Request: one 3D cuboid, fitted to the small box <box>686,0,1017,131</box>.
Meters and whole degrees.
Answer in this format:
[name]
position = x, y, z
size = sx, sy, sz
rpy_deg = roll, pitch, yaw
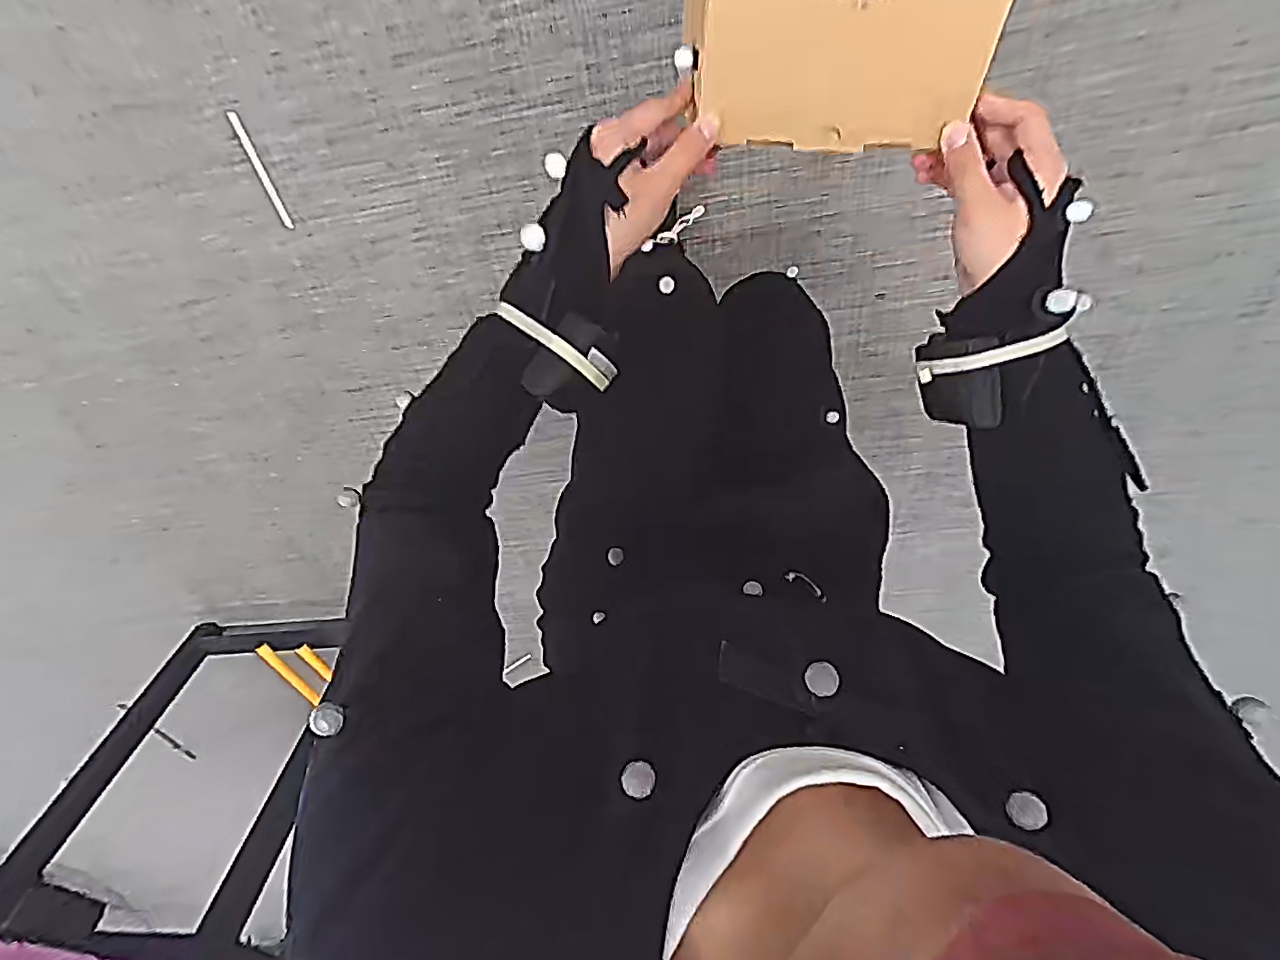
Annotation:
[small box]
position = 0.119, -0.331, 0.329
size = 0.168, 0.176, 0.179
rpy_deg = 0, 133, -1
